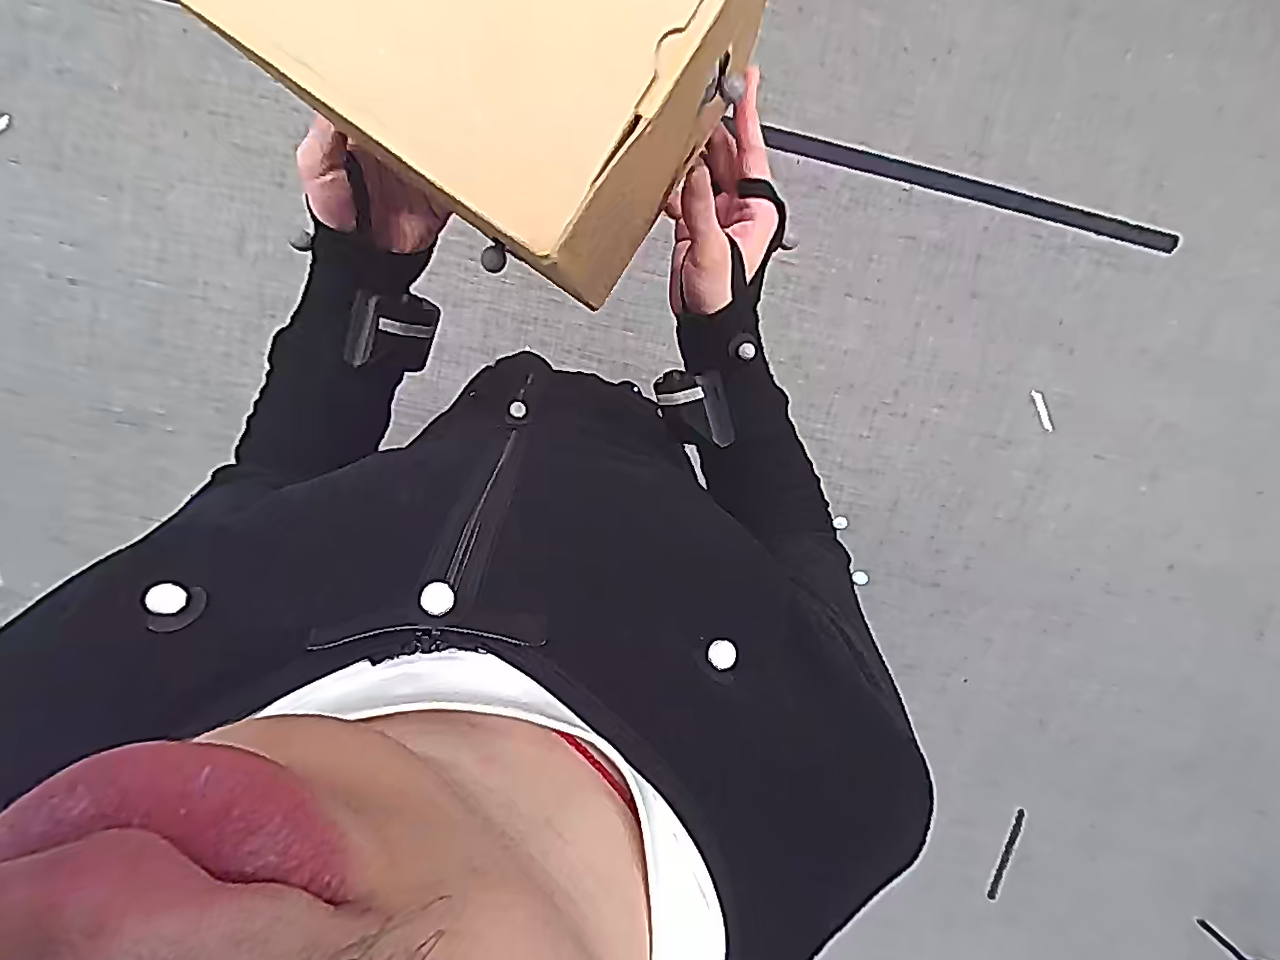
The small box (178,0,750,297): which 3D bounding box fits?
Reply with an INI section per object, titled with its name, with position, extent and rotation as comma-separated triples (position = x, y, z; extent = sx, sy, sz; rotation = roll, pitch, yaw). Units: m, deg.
[small box]
position = -0.057, -0.211, 0.268
extent = 0.179, 0.176, 0.168
rotation = 33, 98, -5
